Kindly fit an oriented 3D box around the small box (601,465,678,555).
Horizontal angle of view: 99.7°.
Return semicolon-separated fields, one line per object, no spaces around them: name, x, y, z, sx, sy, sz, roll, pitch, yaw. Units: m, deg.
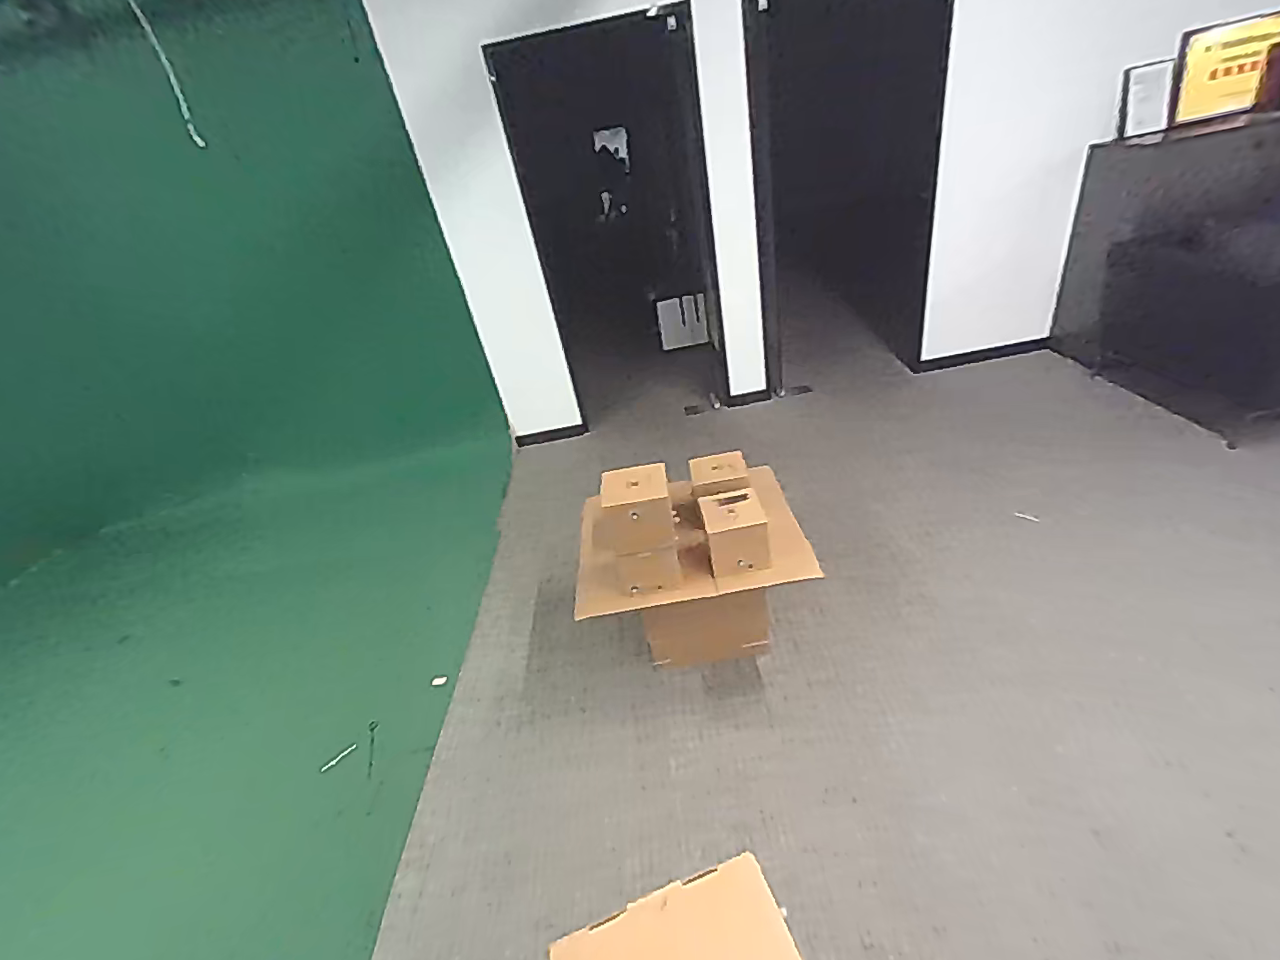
small box;0.001;0.084;1.457;0.179;0.176;0.168;-10;33;5

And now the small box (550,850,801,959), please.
small box;0.042;0.419;0.392;0.168;0.176;0.179;-14;41;-15

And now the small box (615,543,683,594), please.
small box;0.027;0.211;1.557;0.168;0.176;0.179;-10;31;5
